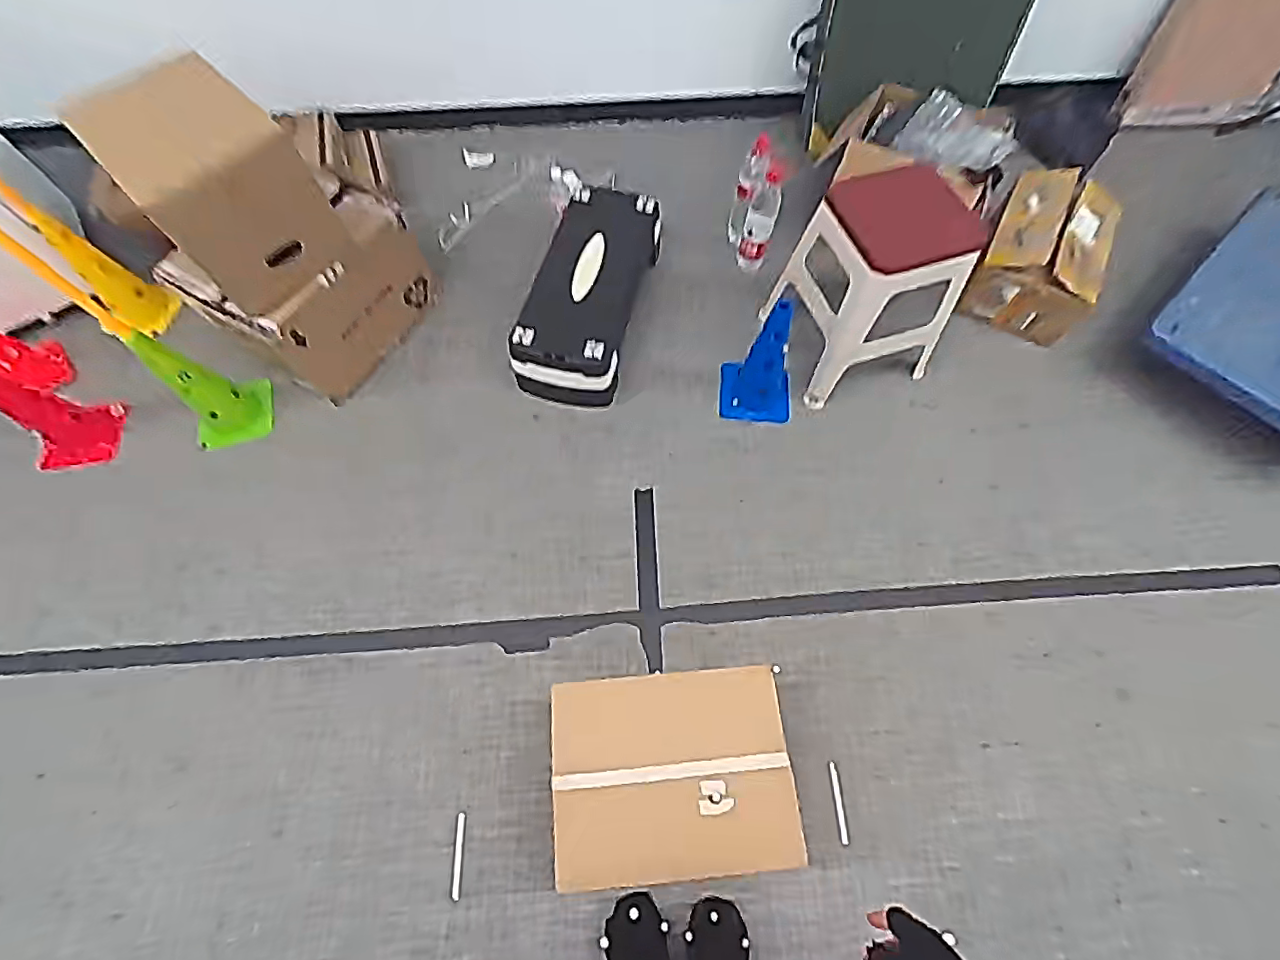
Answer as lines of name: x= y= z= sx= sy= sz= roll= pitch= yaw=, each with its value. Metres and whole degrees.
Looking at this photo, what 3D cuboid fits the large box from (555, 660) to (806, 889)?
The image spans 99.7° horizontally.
large box: x=0.055 y=0.552 z=1.058 sx=0.408 sy=0.320 sz=0.320 roll=-4 pitch=66 yaw=-3
